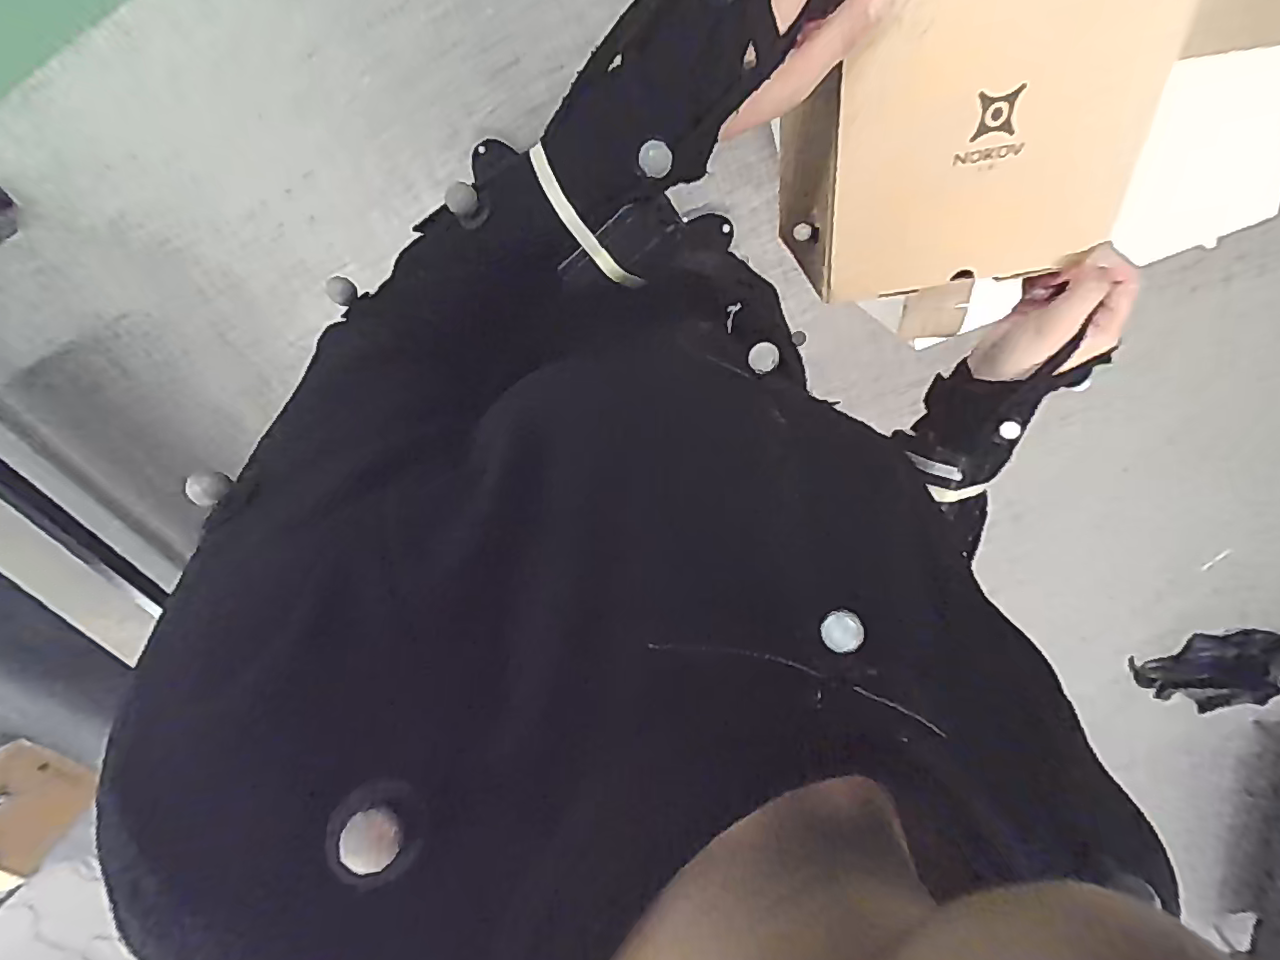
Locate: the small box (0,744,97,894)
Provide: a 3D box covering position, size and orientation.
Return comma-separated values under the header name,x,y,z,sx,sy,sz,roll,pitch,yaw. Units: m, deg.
name,x,y,z,sx,sy,sz,roll,pitch,yaw
small box,-1.103,0.581,0.919,0.179,0.176,0.168,-25,117,17
